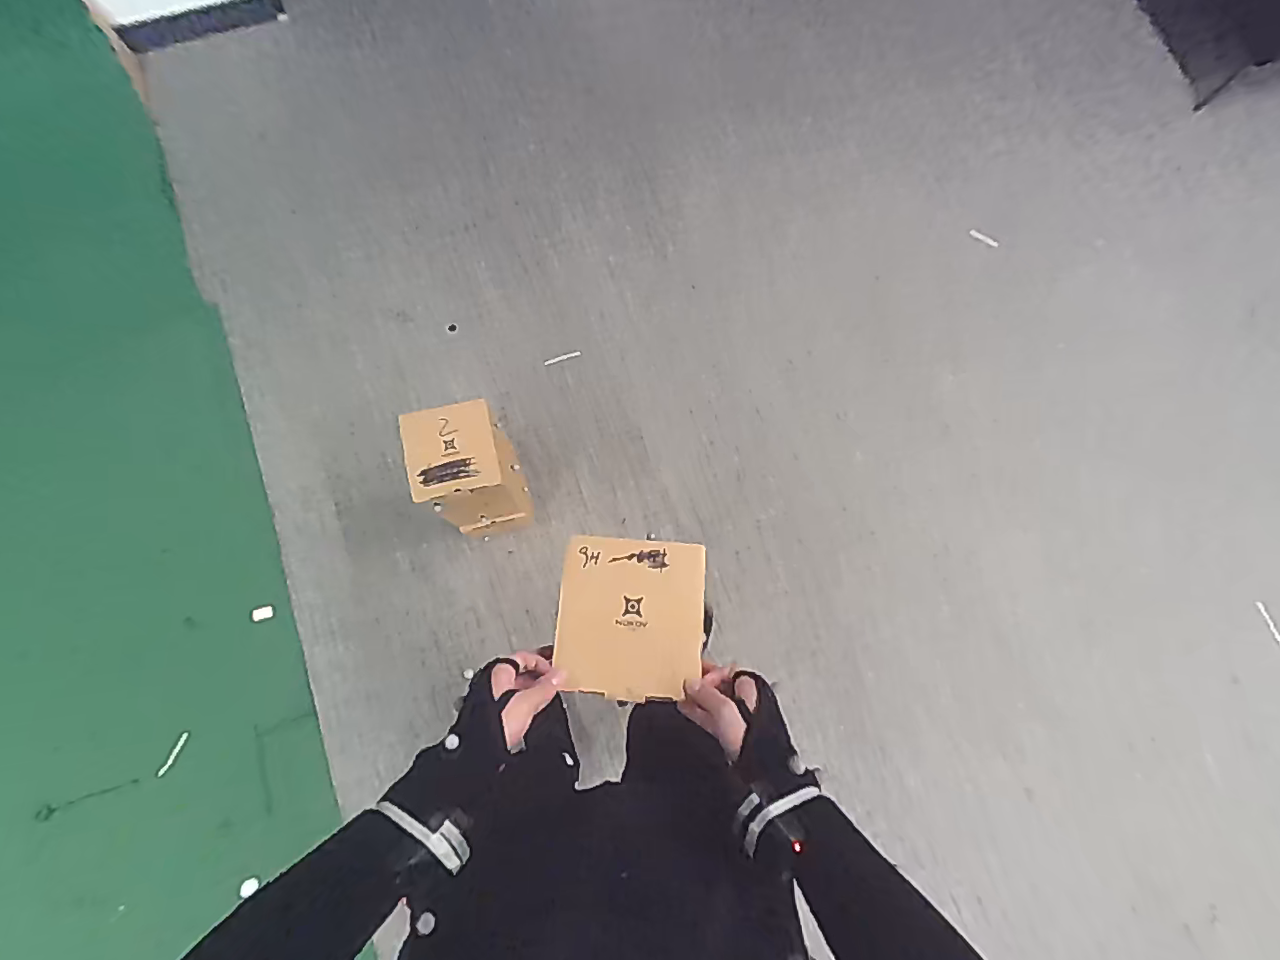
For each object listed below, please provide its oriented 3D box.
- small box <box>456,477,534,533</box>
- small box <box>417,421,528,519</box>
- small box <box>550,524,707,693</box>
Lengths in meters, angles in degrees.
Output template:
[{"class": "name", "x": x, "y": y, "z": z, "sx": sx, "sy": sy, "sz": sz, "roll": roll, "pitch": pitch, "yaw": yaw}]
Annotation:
[{"class": "small box", "x": -0.381, "y": 0.034, "z": 1.405, "sx": 0.168, "sy": 0.176, "sz": 0.179, "roll": -14, "pitch": 79, "yaw": -7}, {"class": "small box", "x": -0.379, "y": -0.015, "z": 1.258, "sx": 0.179, "sy": 0.176, "sz": 0.168, "roll": 18, "pitch": 79, "yaw": 1}, {"class": "small box", "x": -0.012, "y": 0.164, "z": 0.689, "sx": 0.168, "sy": 0.176, "sz": 0.179, "roll": 6, "pitch": 73, "yaw": -1}]
